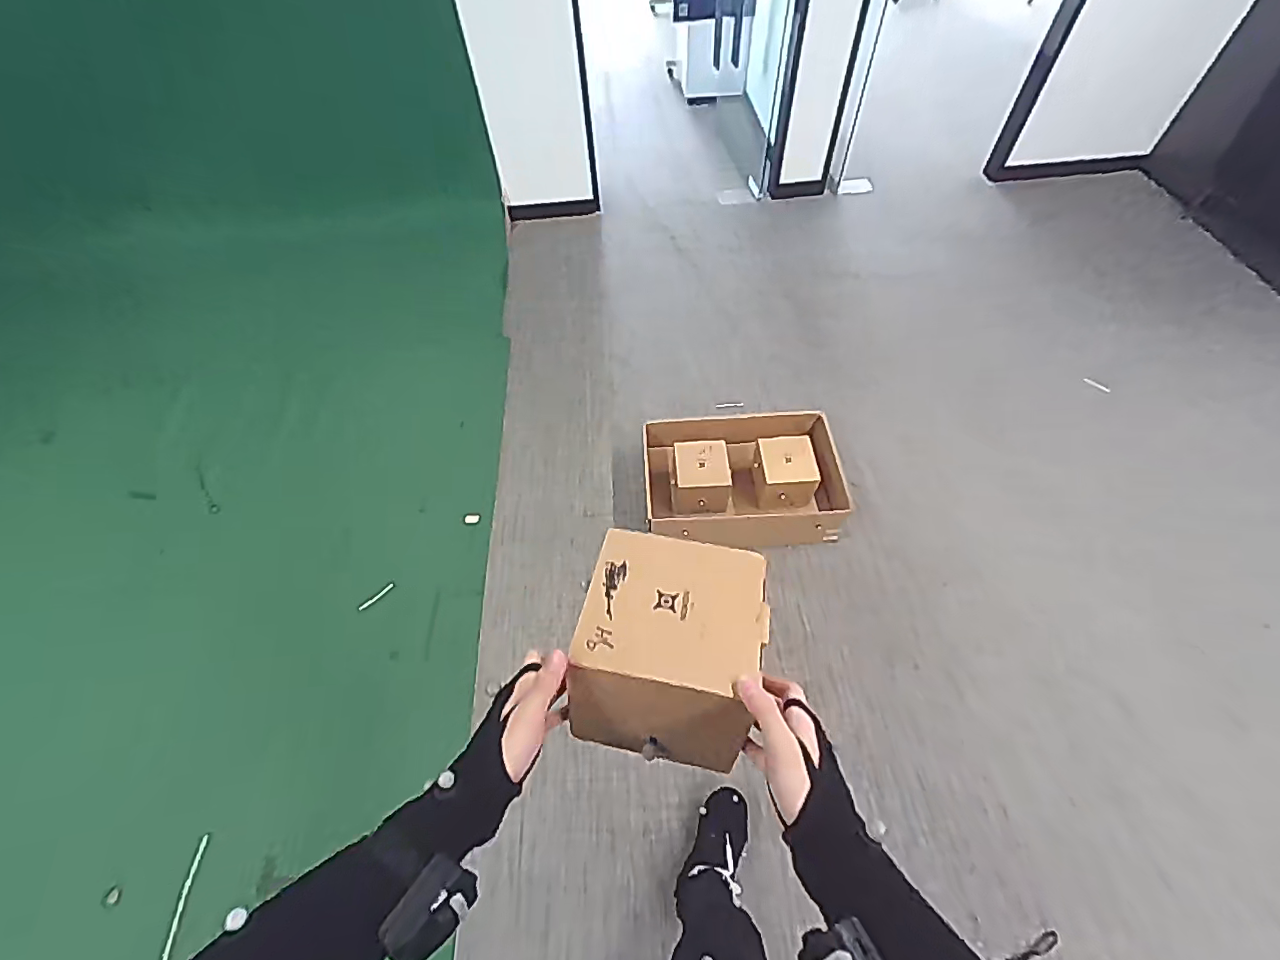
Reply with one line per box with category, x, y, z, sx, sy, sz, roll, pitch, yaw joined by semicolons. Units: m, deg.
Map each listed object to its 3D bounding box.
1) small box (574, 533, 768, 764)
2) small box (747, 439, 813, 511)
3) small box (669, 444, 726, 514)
small box;0.034;0.187;0.594;0.179;0.176;0.168;10;42;5
small box;0.449;-0.011;1.758;0.168;0.176;0.179;-4;56;0
small box;0.181;0.002;1.754;0.168;0.176;0.179;-2;56;-1
